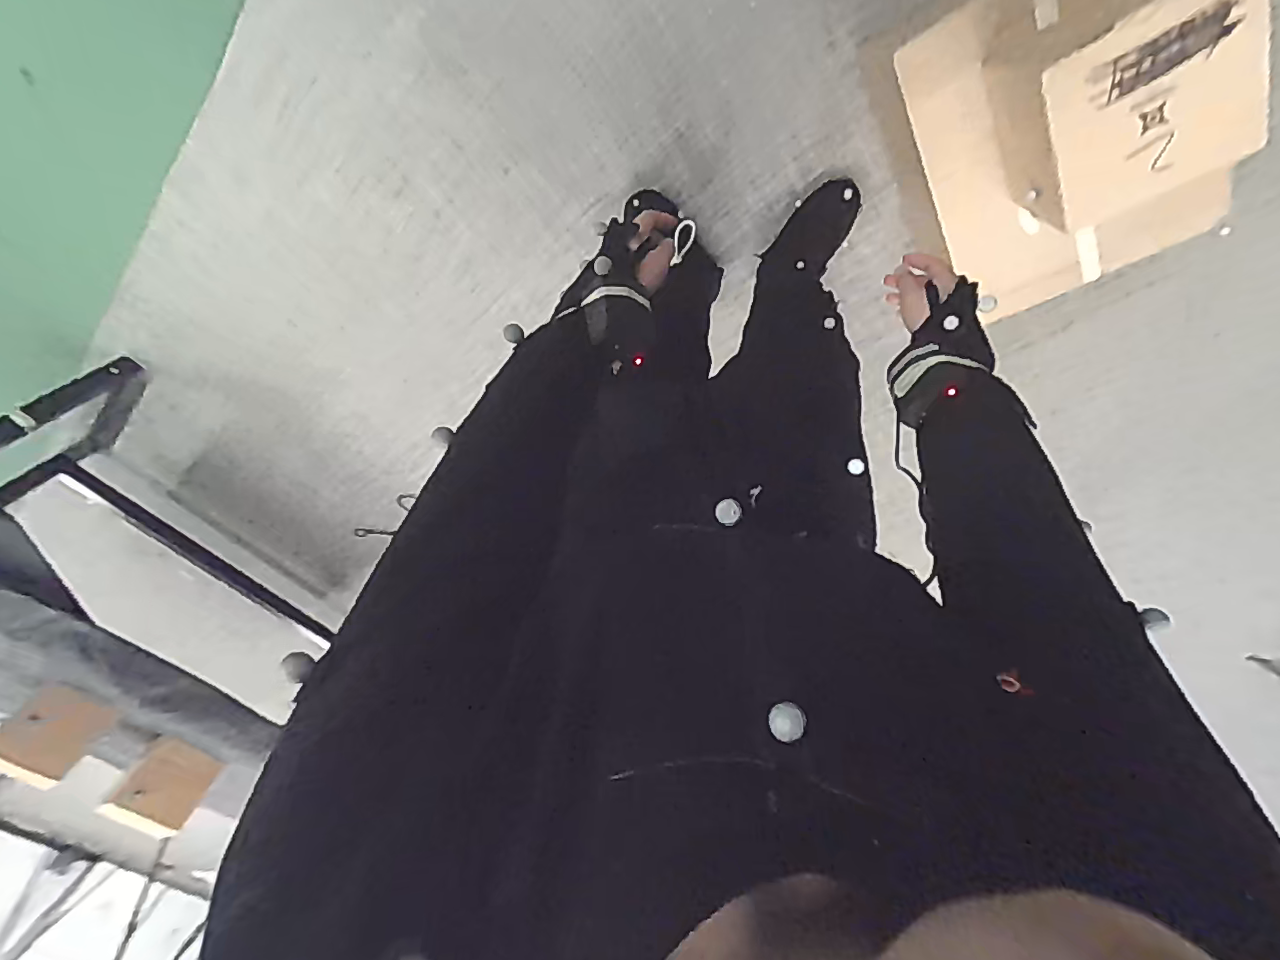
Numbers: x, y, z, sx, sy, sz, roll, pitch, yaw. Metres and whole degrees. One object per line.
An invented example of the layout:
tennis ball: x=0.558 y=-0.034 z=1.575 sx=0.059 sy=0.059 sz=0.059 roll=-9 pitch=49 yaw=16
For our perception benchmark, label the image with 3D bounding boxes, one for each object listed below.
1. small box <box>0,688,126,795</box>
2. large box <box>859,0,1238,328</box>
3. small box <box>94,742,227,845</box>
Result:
small box: x=-1.392 y=0.611 z=1.277 sx=0.168 sy=0.176 sz=0.179 roll=-29 pitch=117 yaw=32
large box: x=0.567 y=-0.517 z=0.797 sx=0.320 sy=0.320 sz=0.408 roll=-22 pitch=121 yaw=28
small box: x=-1.218 y=0.802 z=1.385 sx=0.168 sy=0.176 sz=0.179 roll=-30 pitch=115 yaw=31
